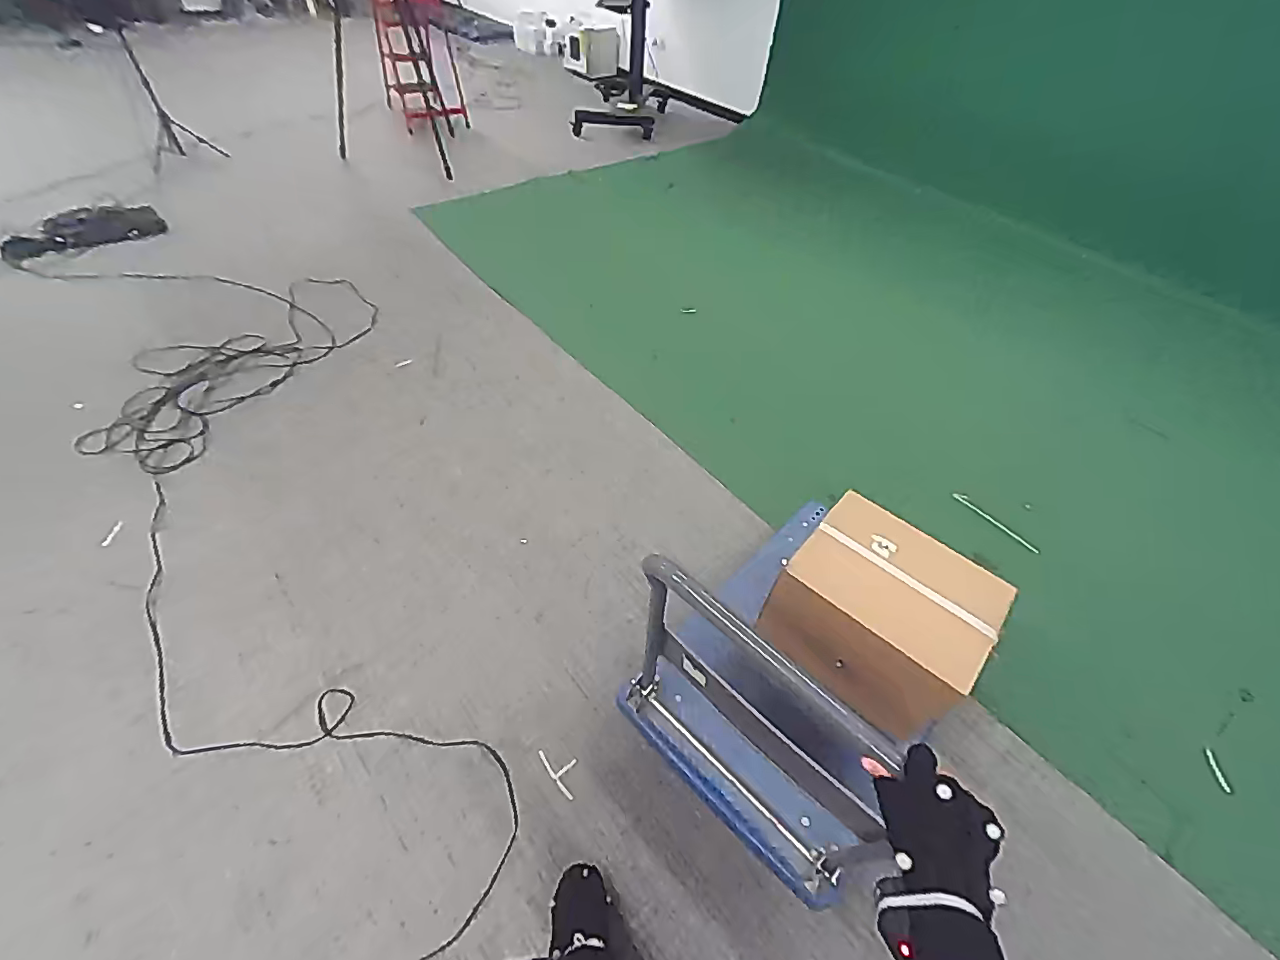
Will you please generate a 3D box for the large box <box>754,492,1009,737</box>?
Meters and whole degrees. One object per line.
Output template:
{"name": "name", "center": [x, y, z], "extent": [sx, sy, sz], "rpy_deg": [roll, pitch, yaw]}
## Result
{"name": "large box", "center": [0.540, 0.309, 1.271], "extent": [0.408, 0.320, 0.320], "rpy_deg": [35, 55, 25]}
